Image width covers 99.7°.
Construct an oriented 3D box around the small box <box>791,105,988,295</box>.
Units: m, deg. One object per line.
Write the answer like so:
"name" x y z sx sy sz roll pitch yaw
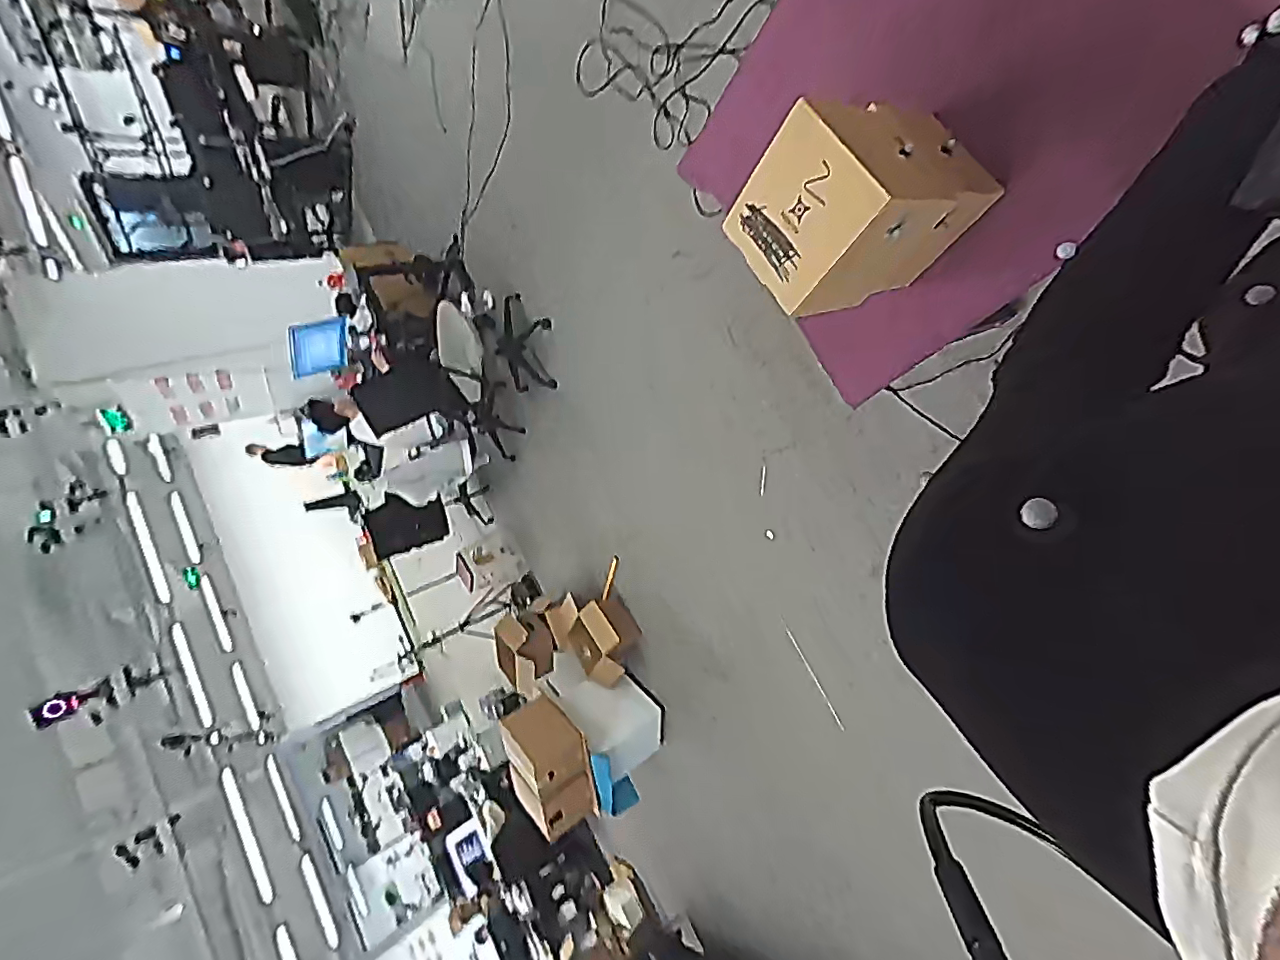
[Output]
"small box" 0.365 -0.400 0.786 0.168 0.176 0.179 59 145 14
